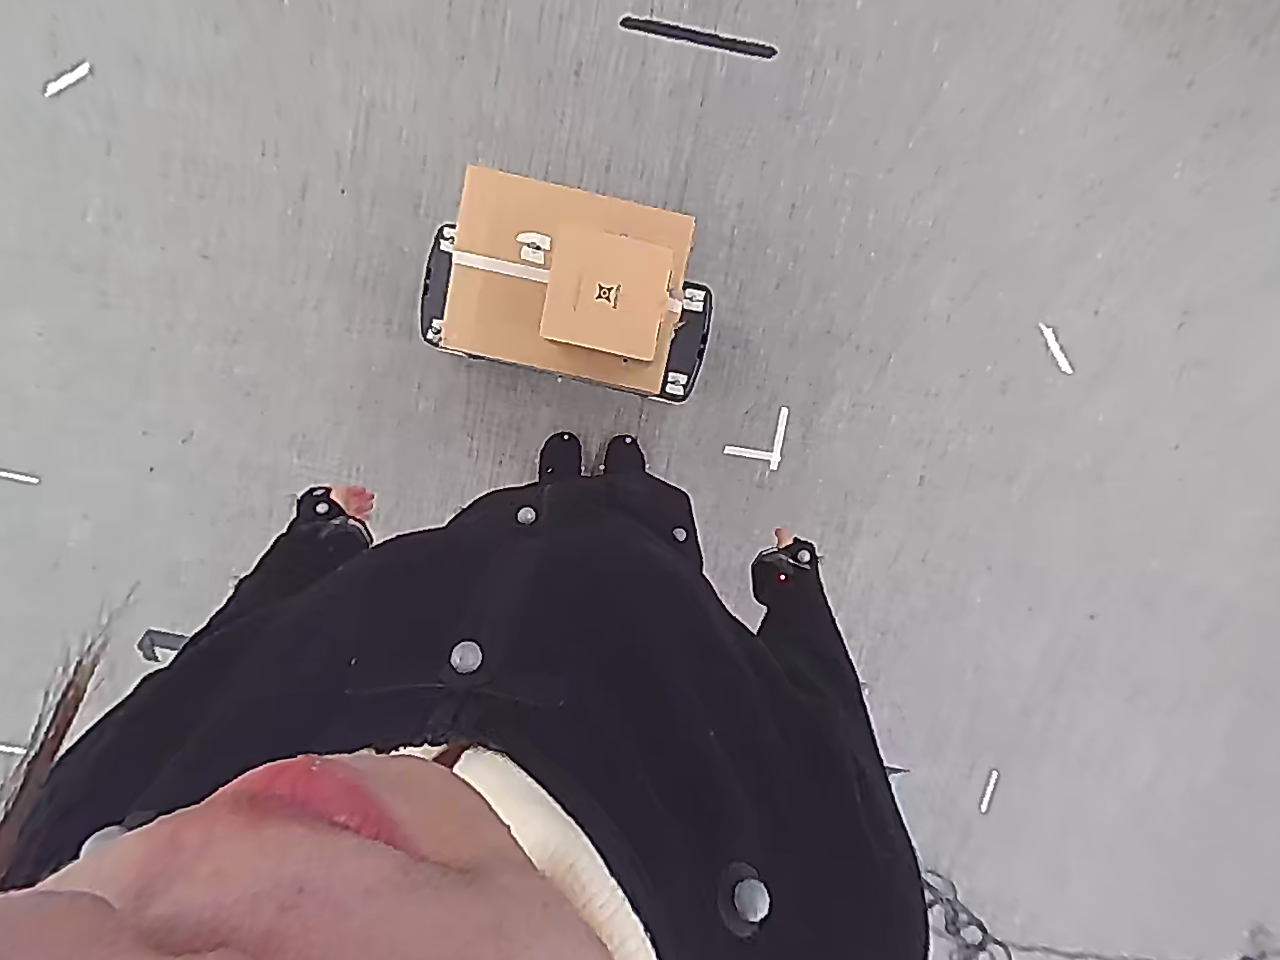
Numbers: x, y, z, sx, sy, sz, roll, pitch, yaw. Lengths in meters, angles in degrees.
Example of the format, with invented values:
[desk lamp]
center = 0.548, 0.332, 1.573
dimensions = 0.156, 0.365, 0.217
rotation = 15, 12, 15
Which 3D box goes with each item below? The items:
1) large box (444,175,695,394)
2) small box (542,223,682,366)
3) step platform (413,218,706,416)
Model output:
[large box]
center = -0.125, -0.359, 1.092
dimensions = 0.408, 0.320, 0.320
rotation = 12, 97, -2
[small box]
center = -0.042, -0.280, 0.857
dimensions = 0.179, 0.176, 0.168
rotation = 12, 98, -2
[step platform]
center = -0.187, -0.386, 1.328
dimensions = 0.684, 0.204, 0.286
rotation = 17, 97, -3
